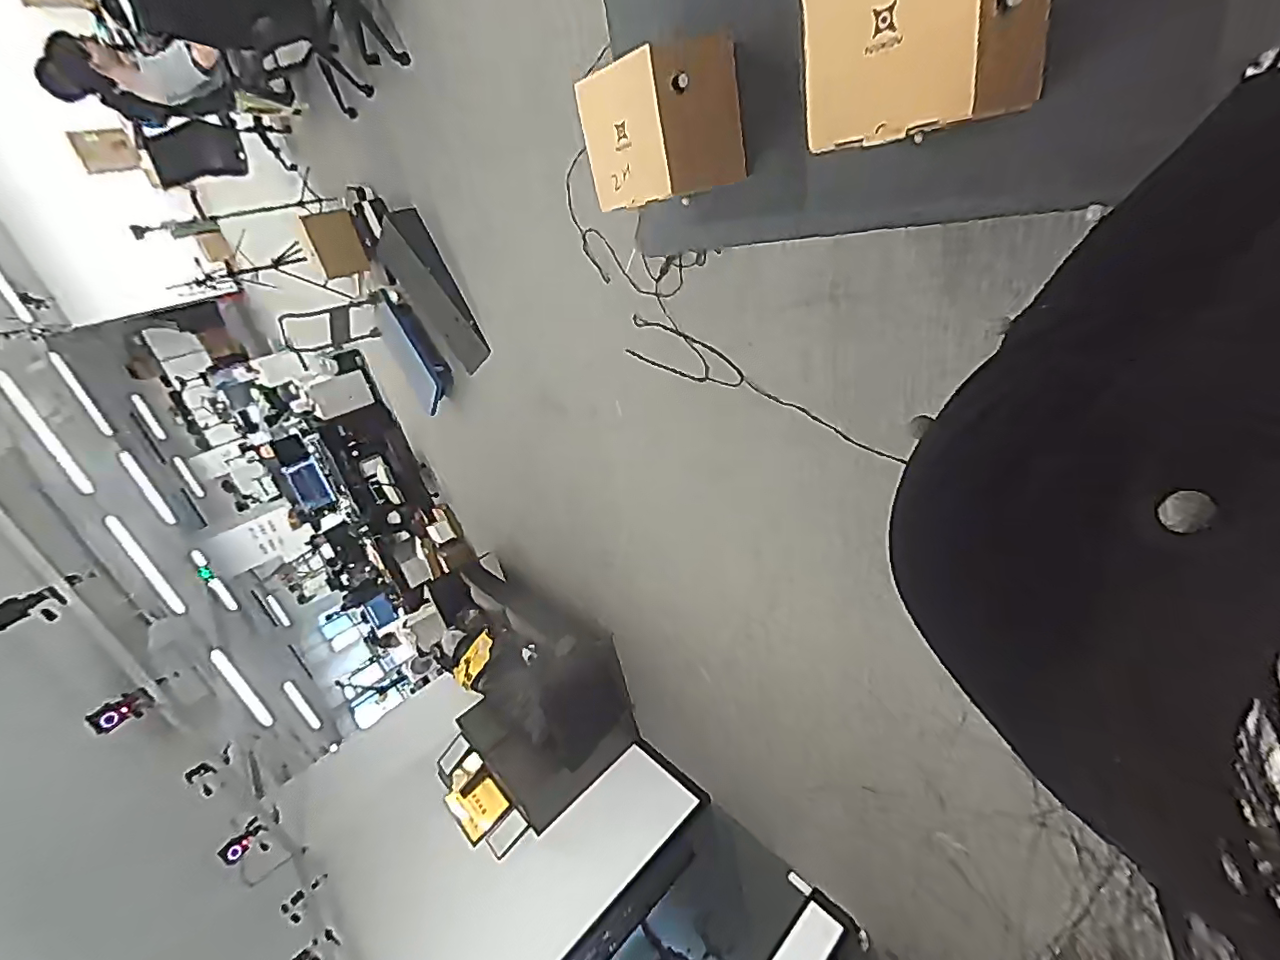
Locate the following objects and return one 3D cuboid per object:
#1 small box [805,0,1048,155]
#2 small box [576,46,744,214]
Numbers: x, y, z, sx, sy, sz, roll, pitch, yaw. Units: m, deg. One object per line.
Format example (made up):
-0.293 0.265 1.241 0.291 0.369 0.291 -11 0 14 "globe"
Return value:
0.283 -0.445 0.536 0.168 0.176 0.179 18 130 46 "small box"
0.036 -0.515 0.809 0.168 0.176 0.179 18 130 46 "small box"
